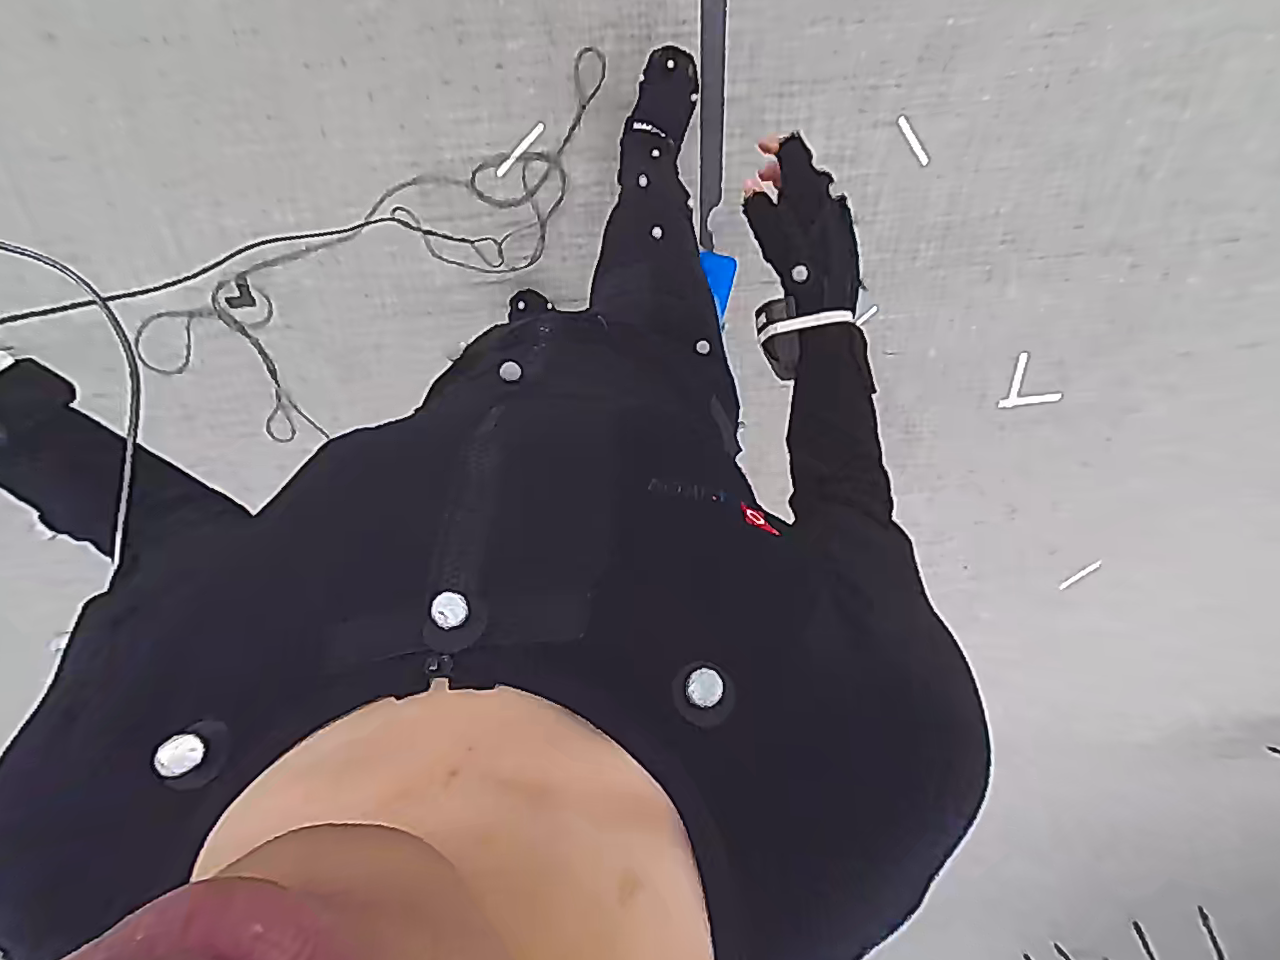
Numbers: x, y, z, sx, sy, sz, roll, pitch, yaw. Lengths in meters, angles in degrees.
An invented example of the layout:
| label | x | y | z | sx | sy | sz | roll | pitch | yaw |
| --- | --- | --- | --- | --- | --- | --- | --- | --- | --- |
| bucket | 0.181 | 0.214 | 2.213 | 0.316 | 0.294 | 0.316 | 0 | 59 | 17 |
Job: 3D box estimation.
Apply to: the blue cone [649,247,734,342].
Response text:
| label | x | y | z | sx | sy | sz | roll | pitch | yaw |
| --- | --- | --- | --- | --- | --- | --- | --- | --- | --- |
| blue cone | 0.135 | -0.377 | 1.185 | 0.192 | 0.380 | 0.193 | 9 | 120 | -10 |
